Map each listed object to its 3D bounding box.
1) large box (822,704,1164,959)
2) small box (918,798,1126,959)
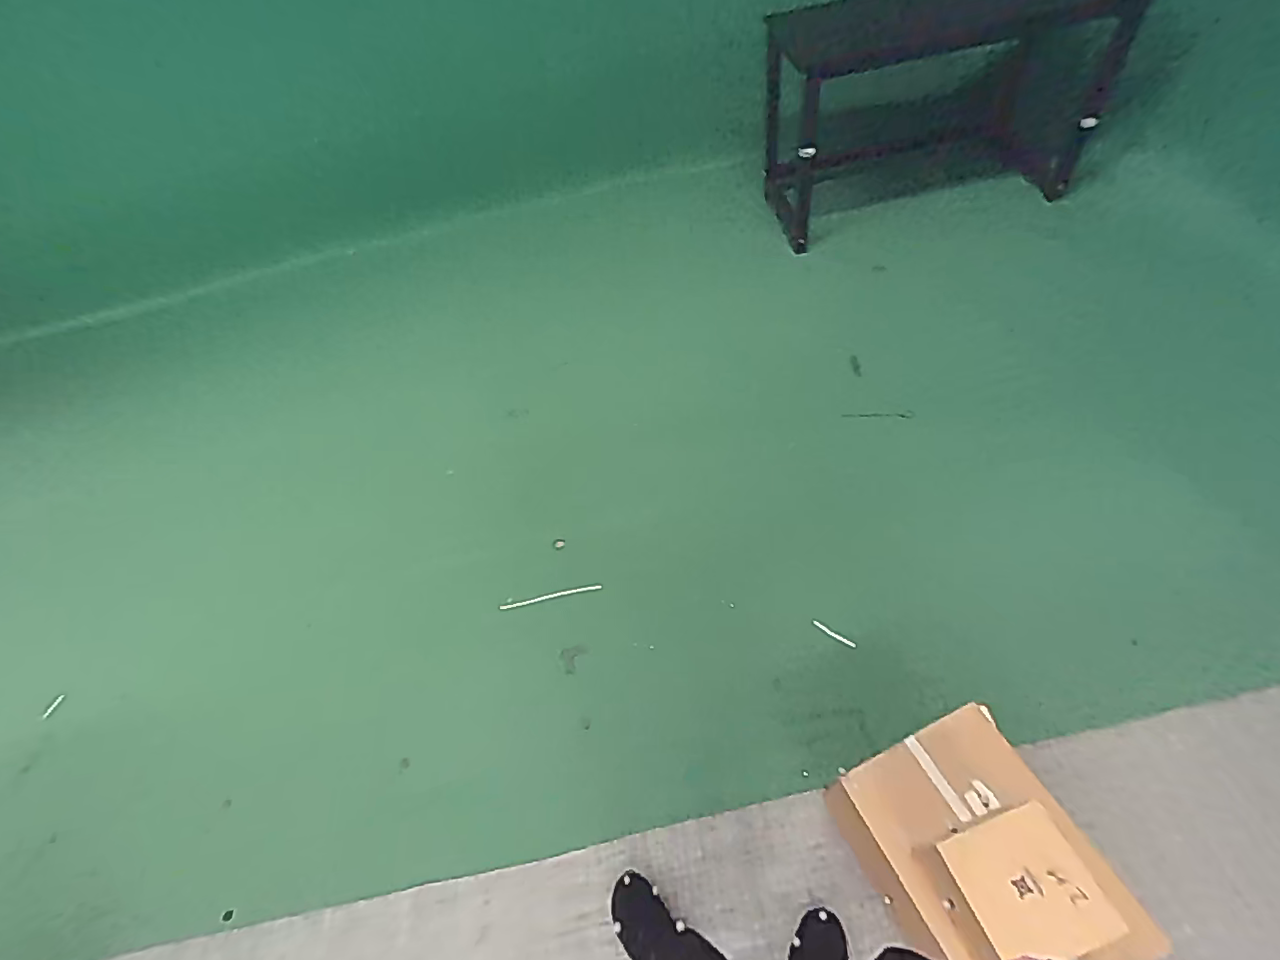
[{"bbox_3d":[0.607,0.723,1.033,0.320,0.320,0.408,-24,52,-8],"label":"large box"},{"bbox_3d":[0.551,0.609,0.817,0.179,0.176,0.168,-20,54,-4],"label":"small box"}]
